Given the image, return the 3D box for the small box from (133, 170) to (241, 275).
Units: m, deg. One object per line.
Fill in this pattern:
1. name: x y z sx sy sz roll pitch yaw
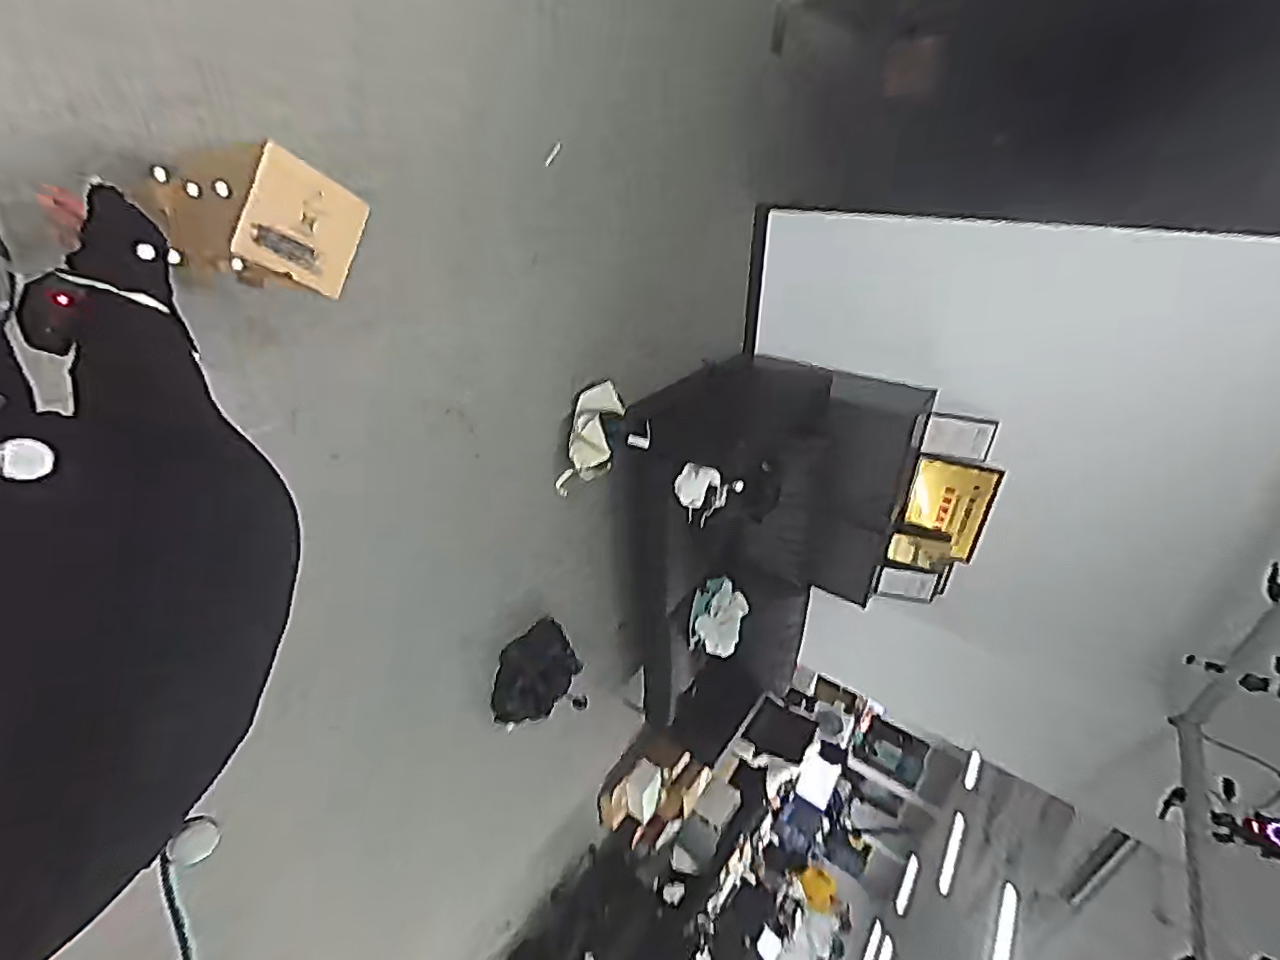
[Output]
1. small box: -0.850 -0.517 1.071 0.179 0.176 0.168 -40 139 -39

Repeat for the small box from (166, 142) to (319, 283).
1. small box: -0.729 -0.487 0.991 0.168 0.176 0.179 6 104 -58
